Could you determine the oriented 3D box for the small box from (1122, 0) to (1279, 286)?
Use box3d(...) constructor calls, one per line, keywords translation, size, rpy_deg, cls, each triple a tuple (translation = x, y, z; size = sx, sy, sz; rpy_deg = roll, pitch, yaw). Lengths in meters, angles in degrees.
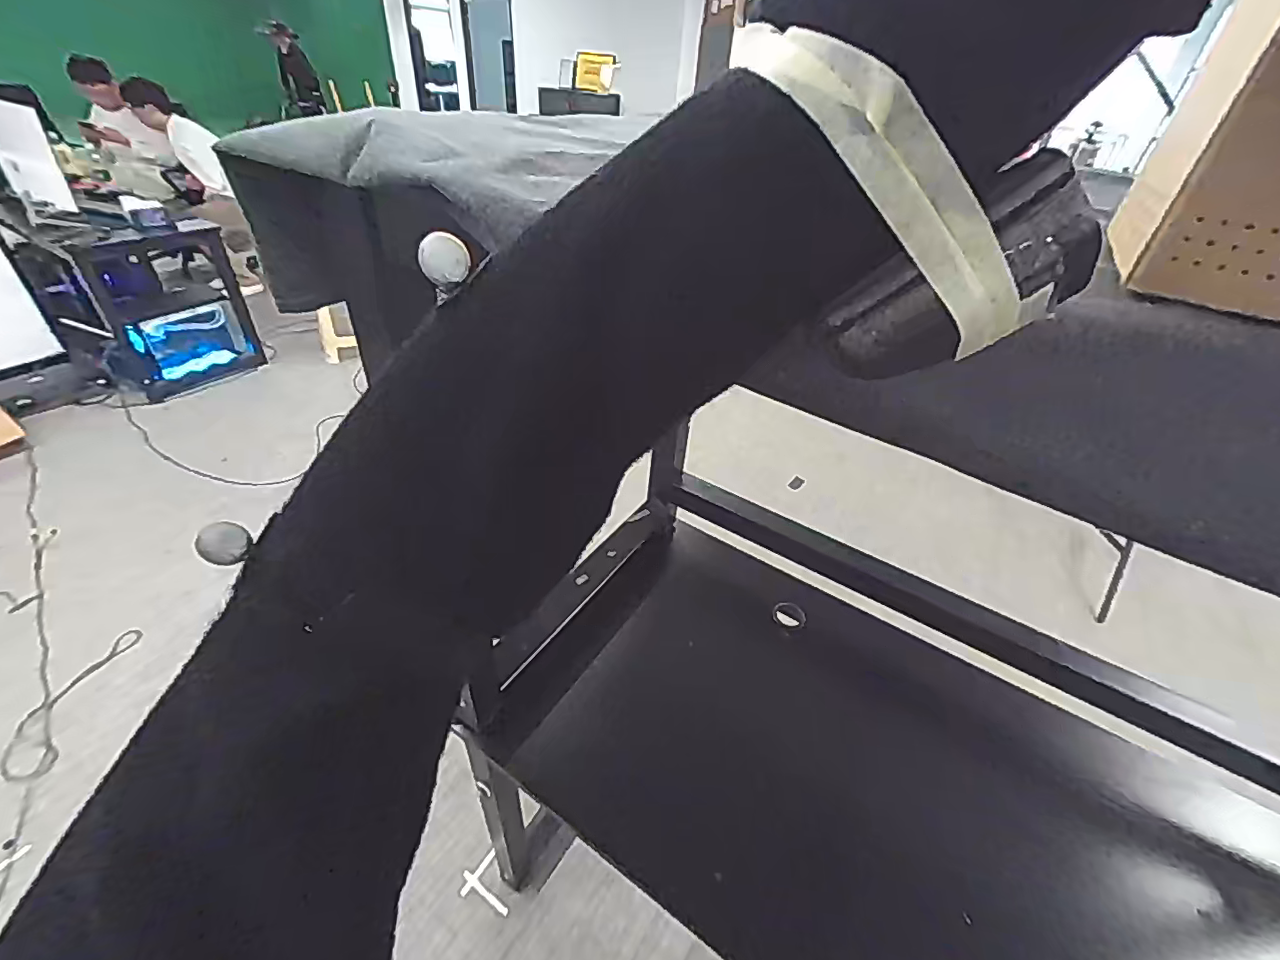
box3d(translation=(0.300, -0.149, 0.174), size=(0.168, 0.176, 0.179), rpy_deg=(26, 40, 25), cls="small box")
